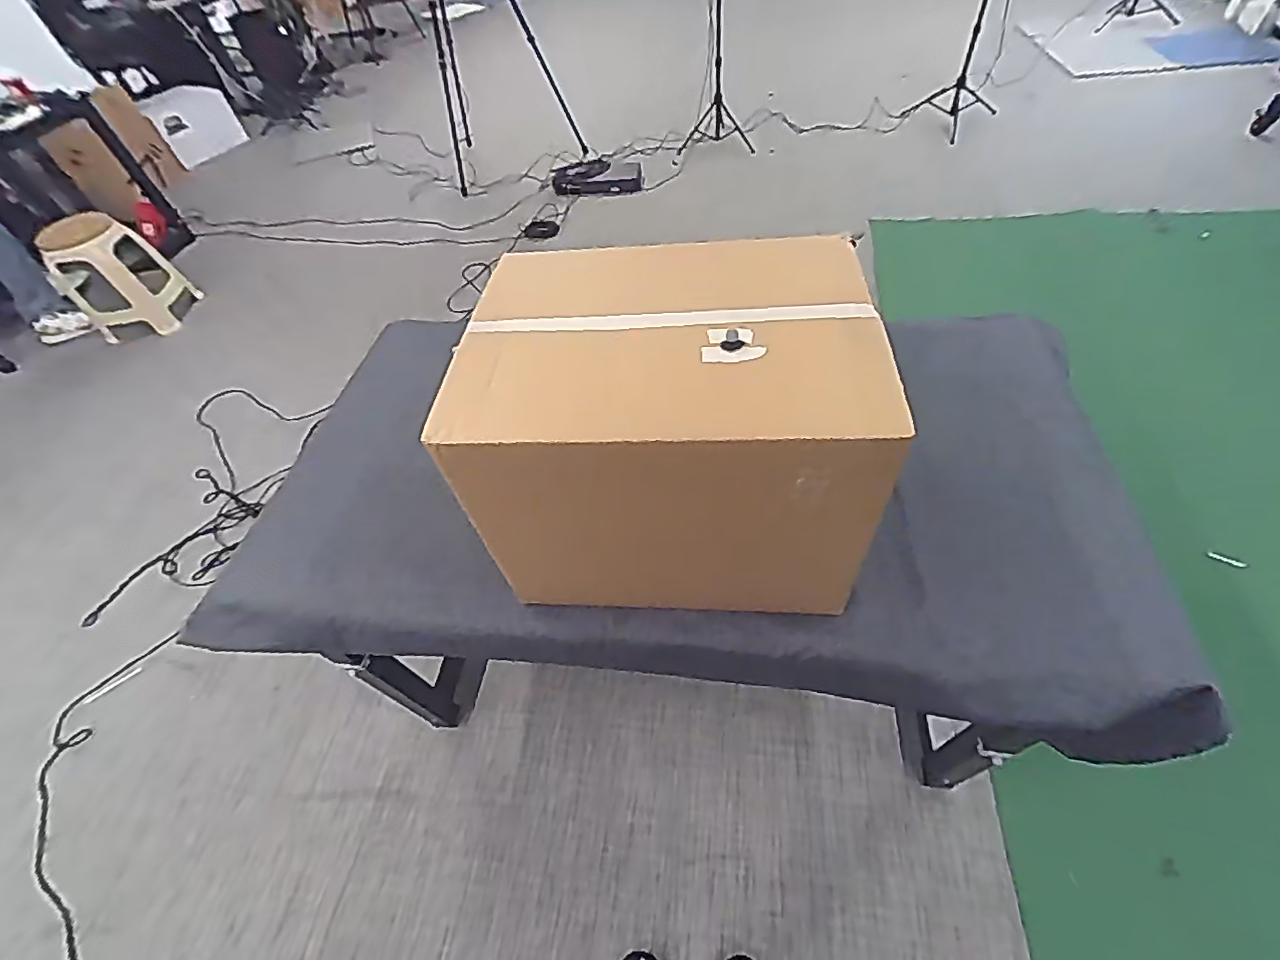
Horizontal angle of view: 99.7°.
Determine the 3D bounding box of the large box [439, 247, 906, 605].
[{"bbox_3d":[0.039,-0.055,0.660,0.408,0.320,0.320,0,51,7],"label":"large box"}]
